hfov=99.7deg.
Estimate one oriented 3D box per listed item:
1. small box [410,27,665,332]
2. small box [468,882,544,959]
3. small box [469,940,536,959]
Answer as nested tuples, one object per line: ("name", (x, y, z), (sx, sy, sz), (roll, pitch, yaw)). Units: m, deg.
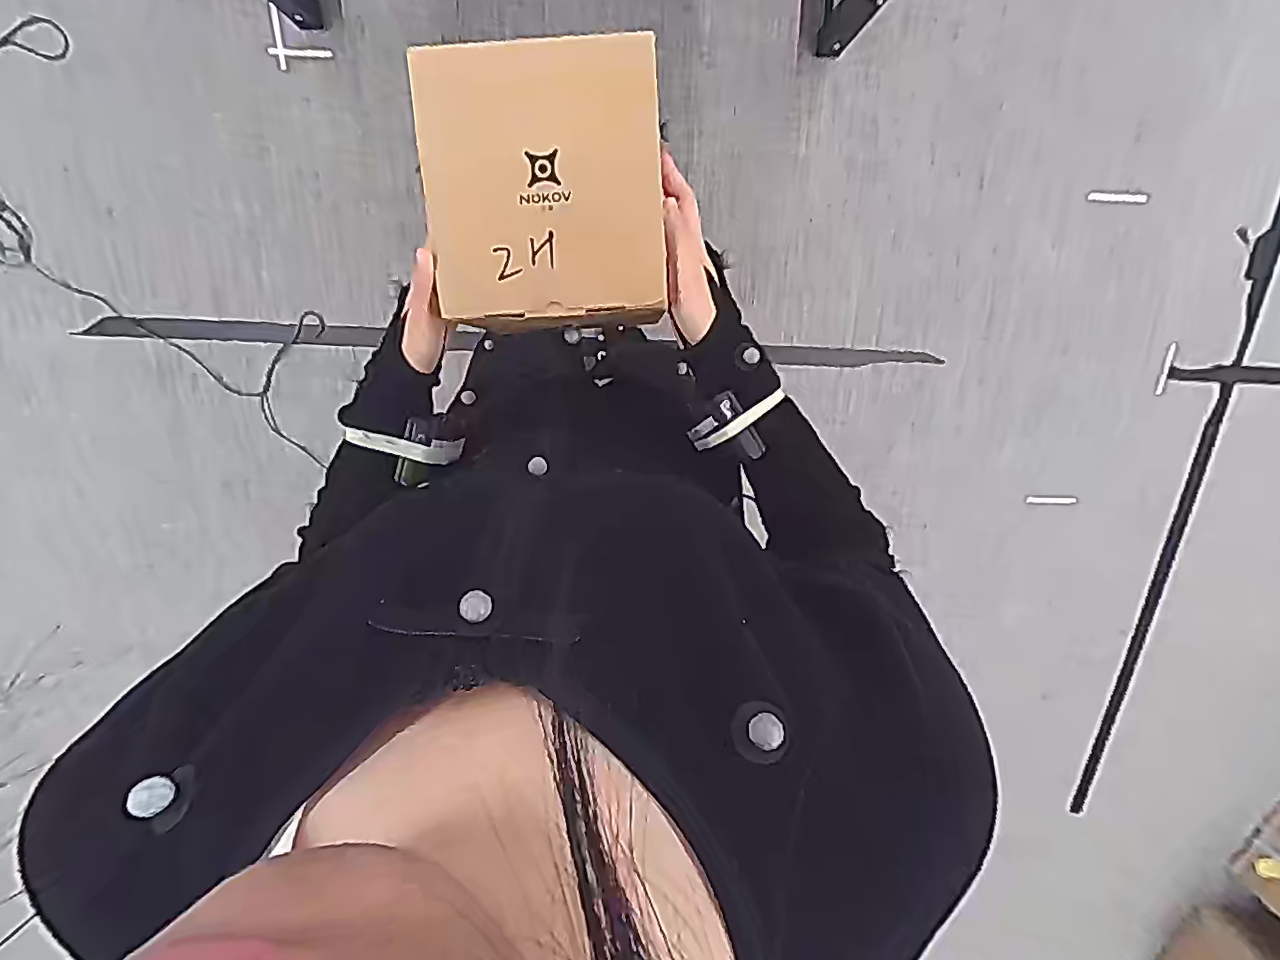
("small box", (-0.068, -0.224, 0.449), (0.168, 0.176, 0.179), (-3, 101, 1))
("small box", (-0.363, 1.256, 1.501), (0.179, 0.176, 0.168), (0, 106, -2))
("small box", (-0.351, 1.296, 1.344), (0.168, 0.176, 0.179), (1, 106, -3))
